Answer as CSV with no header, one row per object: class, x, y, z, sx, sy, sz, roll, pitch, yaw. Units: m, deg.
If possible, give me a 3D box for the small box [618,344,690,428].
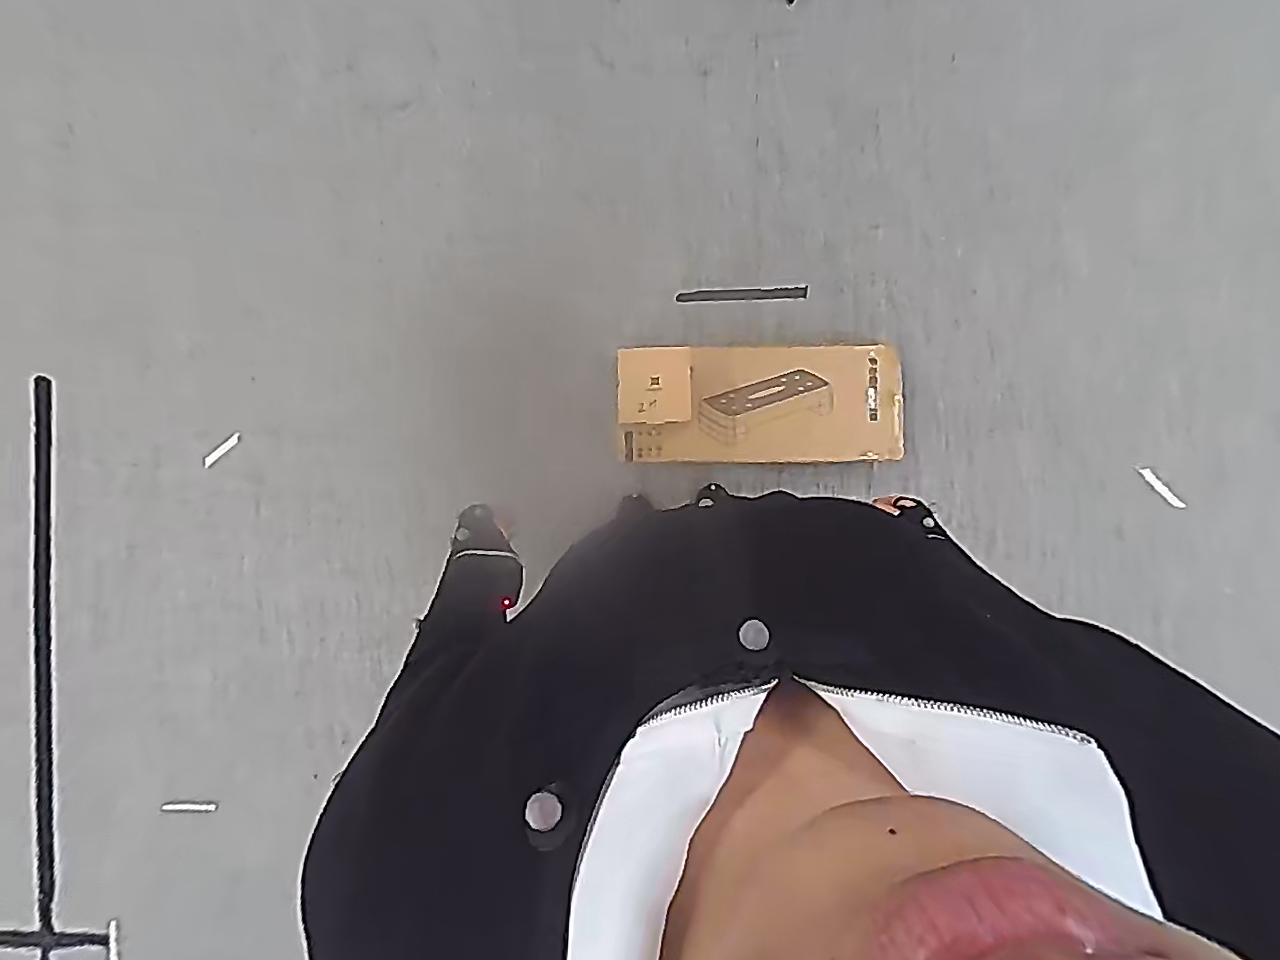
small box,0.031,-0.223,1.316,0.168,0.176,0.179,-1,90,1
